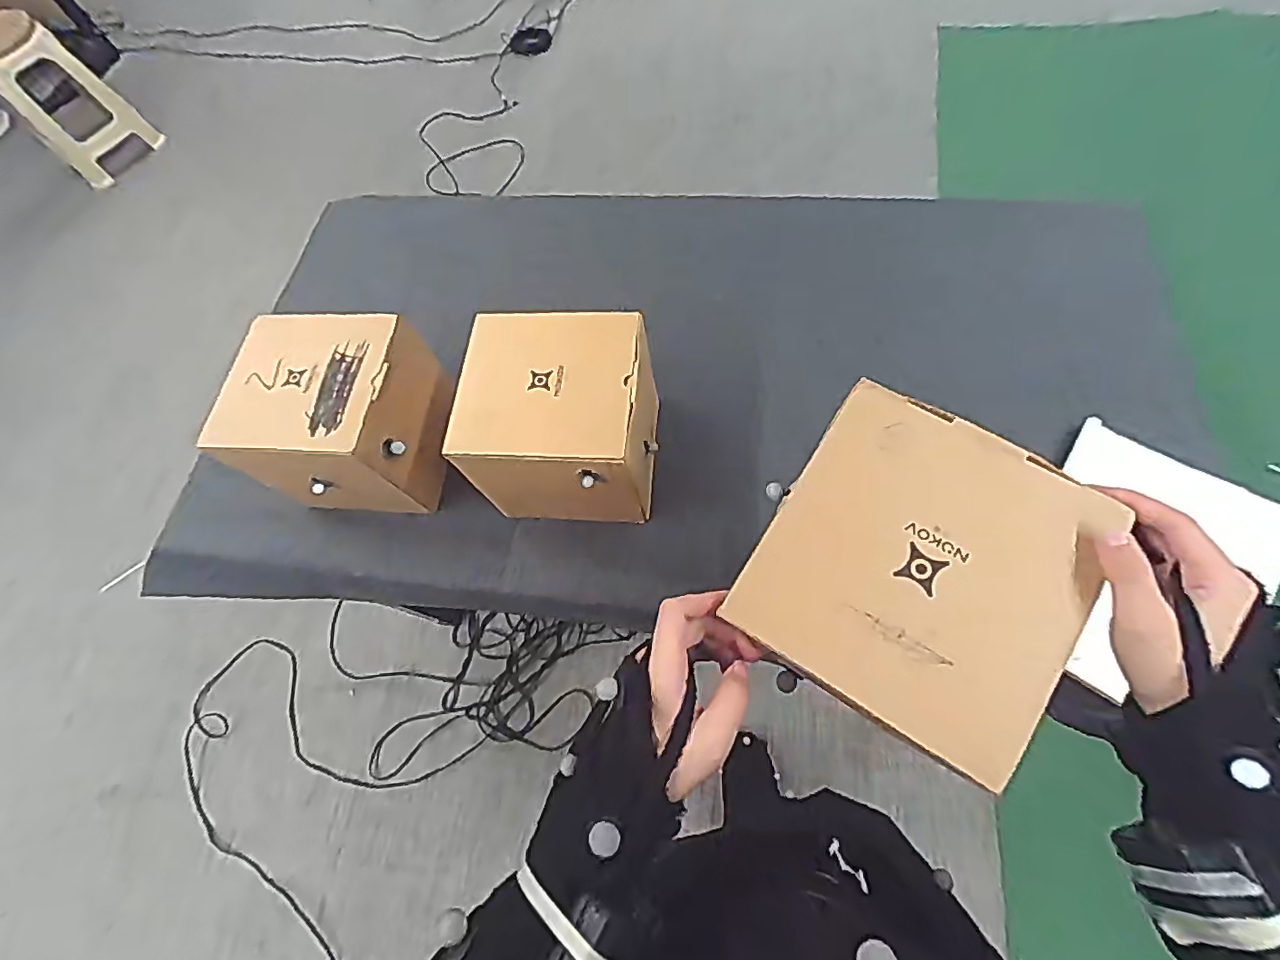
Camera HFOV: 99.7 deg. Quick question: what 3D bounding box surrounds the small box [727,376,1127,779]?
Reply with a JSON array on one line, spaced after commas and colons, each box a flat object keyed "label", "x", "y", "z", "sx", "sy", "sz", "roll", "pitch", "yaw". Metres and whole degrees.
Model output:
[{"label": "small box", "x": 0.172, "y": 0.064, "z": 0.386, "sx": 0.168, "sy": 0.176, "sz": 0.179, "roll": 30, "pitch": 82, "yaw": 15}]

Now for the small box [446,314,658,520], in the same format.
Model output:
[{"label": "small box", "x": -0.079, "y": -0.061, "z": 0.593, "sx": 0.179, "sy": 0.176, "sz": 0.168, "roll": 2, "pitch": 66, "yaw": 8}]
